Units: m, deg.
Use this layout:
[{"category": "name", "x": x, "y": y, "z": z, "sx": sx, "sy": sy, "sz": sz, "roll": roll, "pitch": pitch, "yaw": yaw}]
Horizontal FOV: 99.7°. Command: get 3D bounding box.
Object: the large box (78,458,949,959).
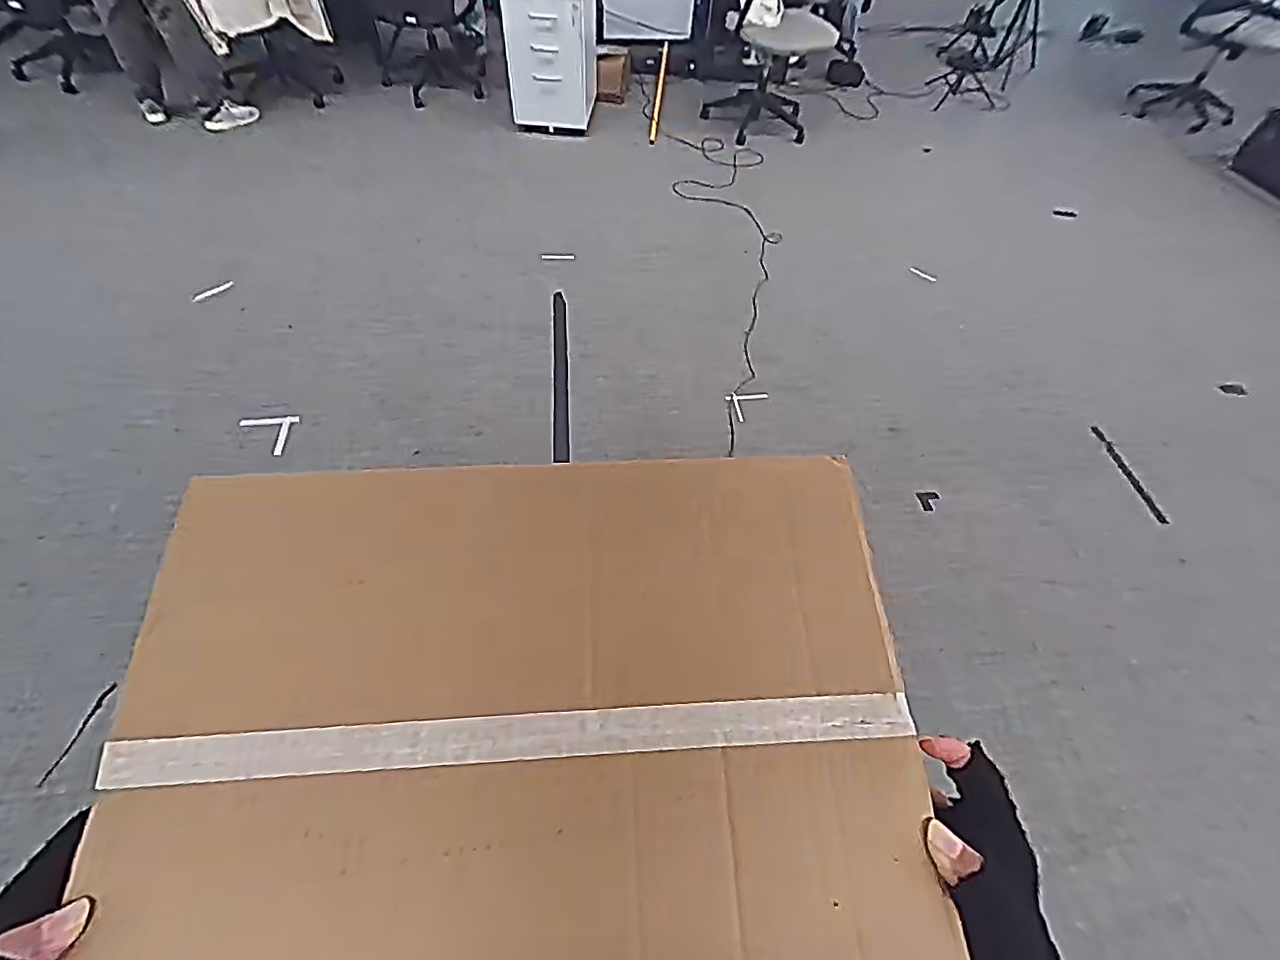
[{"category": "large box", "x": -0.066, "y": 0.196, "z": 0.425, "sx": 0.408, "sy": 0.320, "sz": 0.320, "roll": -2, "pitch": 66, "yaw": -3}]
